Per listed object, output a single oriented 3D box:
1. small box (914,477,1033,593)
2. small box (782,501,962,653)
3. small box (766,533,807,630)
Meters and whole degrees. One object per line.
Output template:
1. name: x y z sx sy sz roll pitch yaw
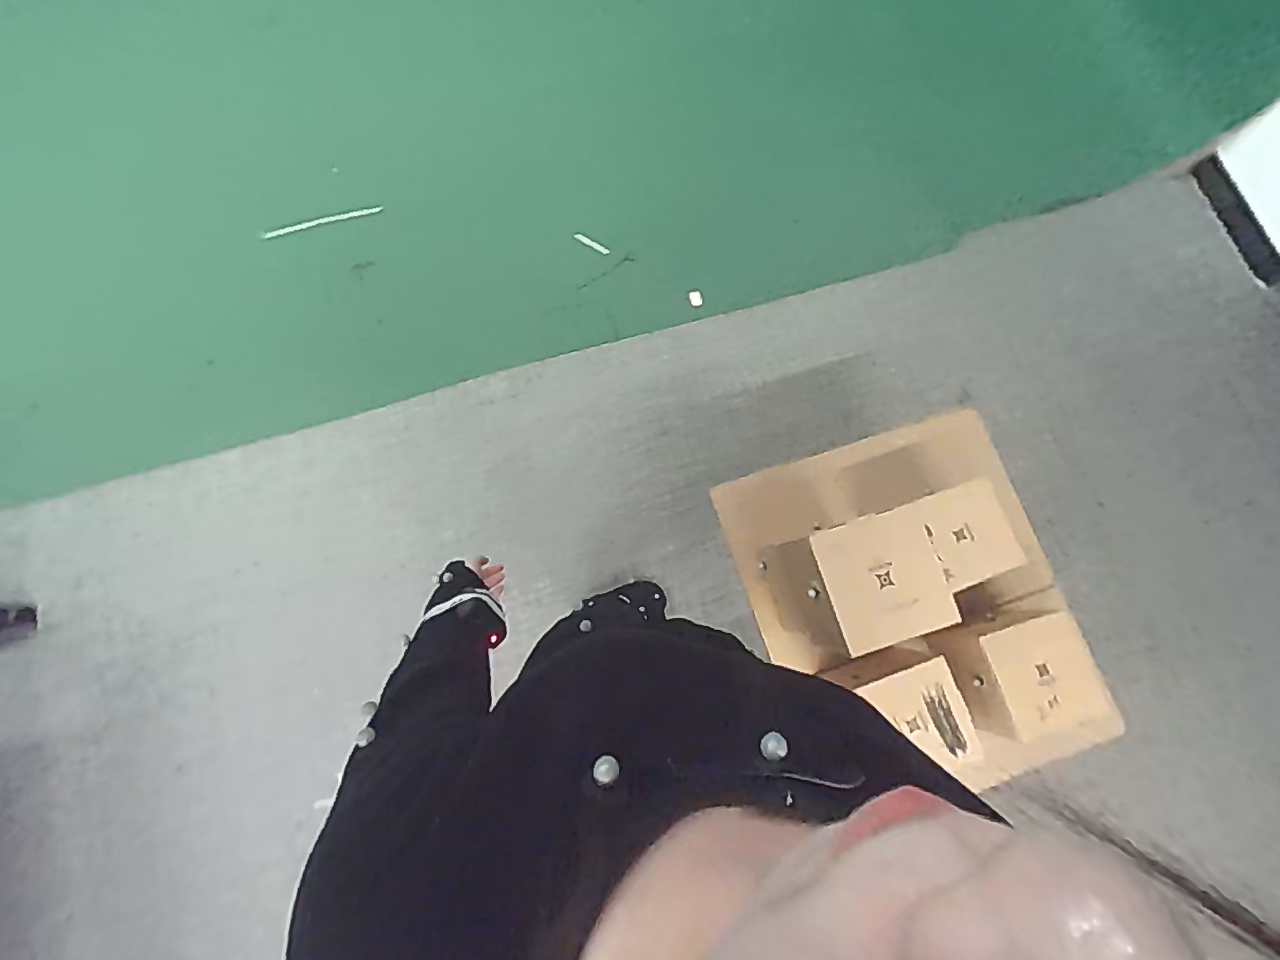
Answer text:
1. small box: 0.555 0.110 0.997 0.179 0.176 0.168 -18 78 -7
2. small box: 0.332 0.147 0.816 0.168 0.176 0.179 -15 79 -4
3. small box: 0.342 0.172 0.978 0.179 0.176 0.168 -16 79 -6
